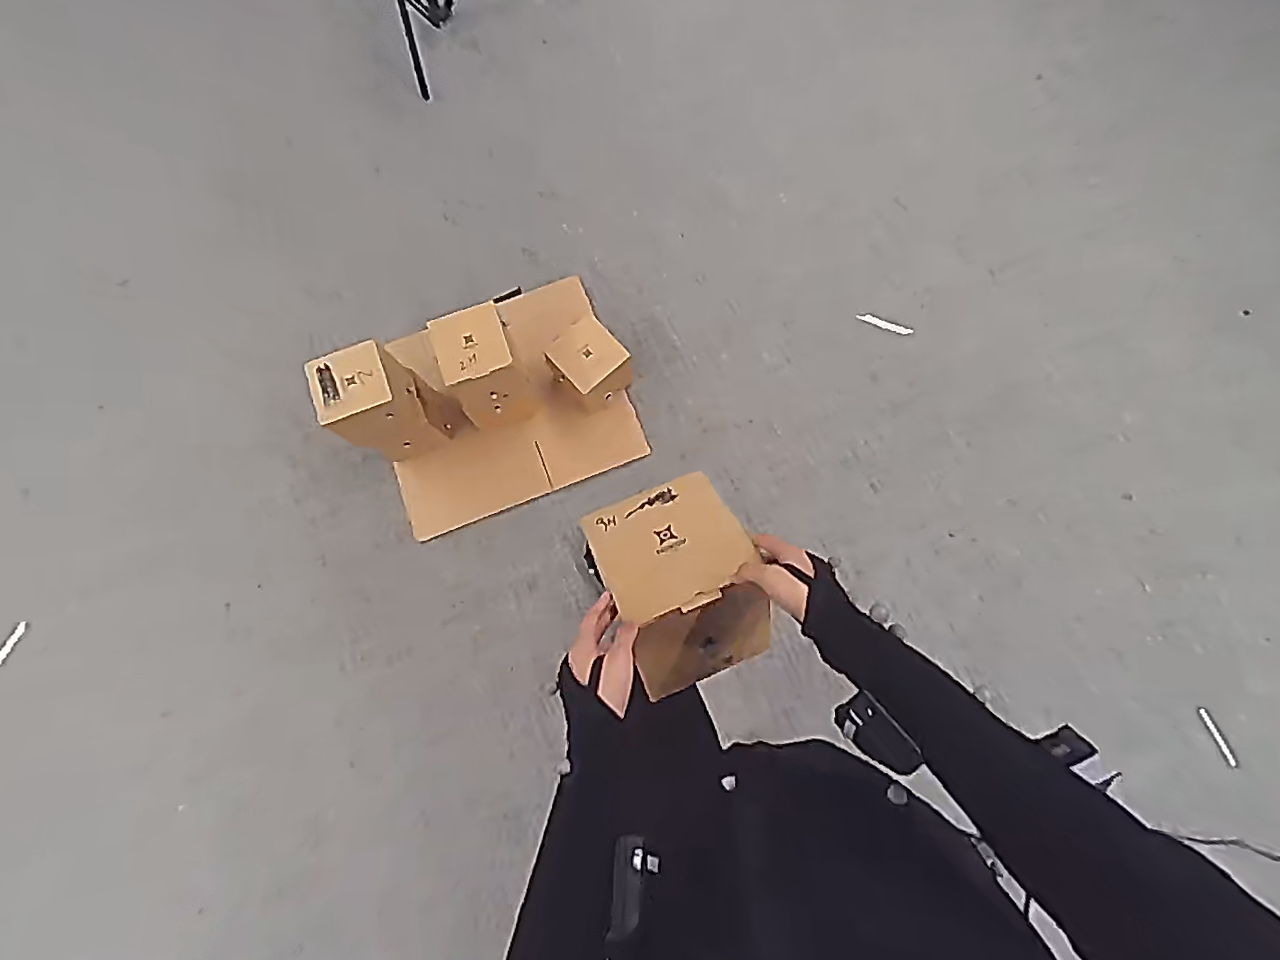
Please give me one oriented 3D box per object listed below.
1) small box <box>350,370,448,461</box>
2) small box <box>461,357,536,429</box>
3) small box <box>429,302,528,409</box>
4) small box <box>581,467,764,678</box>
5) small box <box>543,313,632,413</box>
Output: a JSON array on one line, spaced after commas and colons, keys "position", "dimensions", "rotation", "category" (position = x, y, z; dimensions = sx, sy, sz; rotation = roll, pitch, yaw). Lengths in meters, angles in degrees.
[{"position": [-0.647, -0.170, 1.477], "dimensions": [0.179, 0.176, 0.168], "rotation": [-22, 78, -2], "category": "small box"}, {"position": [-0.397, -0.259, 1.491], "dimensions": [0.179, 0.176, 0.168], "rotation": [-20, 78, -3], "category": "small box"}, {"position": [-0.392, -0.299, 1.331], "dimensions": [0.168, 0.176, 0.179], "rotation": [-20, 78, -3], "category": "small box"}, {"position": [0.044, 0.121, 0.674], "dimensions": [0.168, 0.176, 0.179], "rotation": [-21, 44, -8], "category": "small box"}, {"position": [-0.139, -0.315, 1.495], "dimensions": [0.168, 0.176, 0.179], "rotation": [-42, 79, -6], "category": "small box"}]
